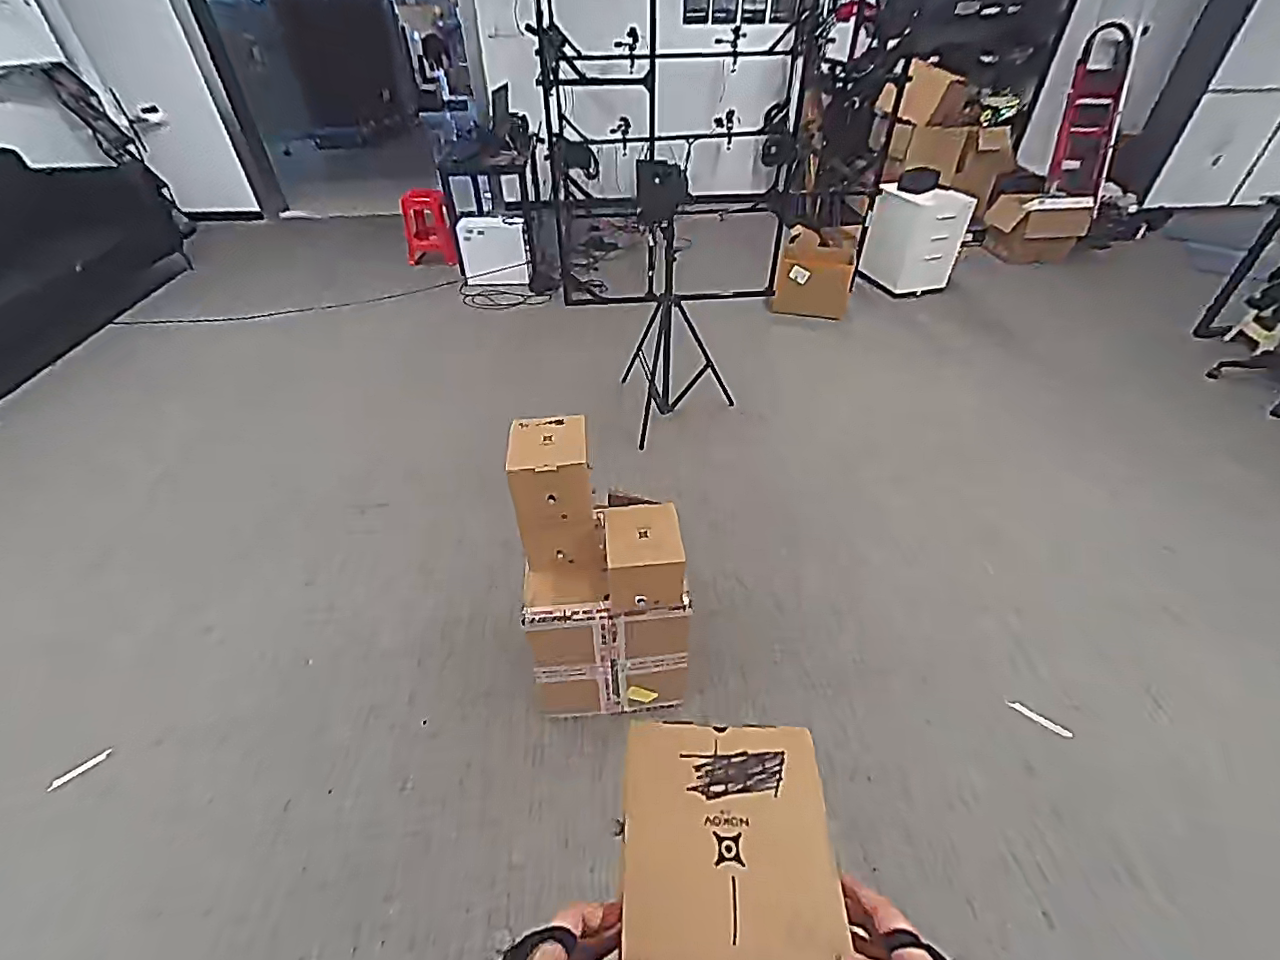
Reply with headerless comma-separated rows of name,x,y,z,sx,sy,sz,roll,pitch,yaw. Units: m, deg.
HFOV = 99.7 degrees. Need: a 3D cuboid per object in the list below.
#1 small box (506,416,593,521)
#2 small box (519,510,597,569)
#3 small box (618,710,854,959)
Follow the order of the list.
small box,-0.196,-0.020,1.212,0.168,0.176,0.179,-5,44,-3
small box,-0.197,0.095,1.330,0.168,0.176,0.179,-7,43,-4
small box,0.067,0.333,0.492,0.168,0.176,0.179,2,45,-1
